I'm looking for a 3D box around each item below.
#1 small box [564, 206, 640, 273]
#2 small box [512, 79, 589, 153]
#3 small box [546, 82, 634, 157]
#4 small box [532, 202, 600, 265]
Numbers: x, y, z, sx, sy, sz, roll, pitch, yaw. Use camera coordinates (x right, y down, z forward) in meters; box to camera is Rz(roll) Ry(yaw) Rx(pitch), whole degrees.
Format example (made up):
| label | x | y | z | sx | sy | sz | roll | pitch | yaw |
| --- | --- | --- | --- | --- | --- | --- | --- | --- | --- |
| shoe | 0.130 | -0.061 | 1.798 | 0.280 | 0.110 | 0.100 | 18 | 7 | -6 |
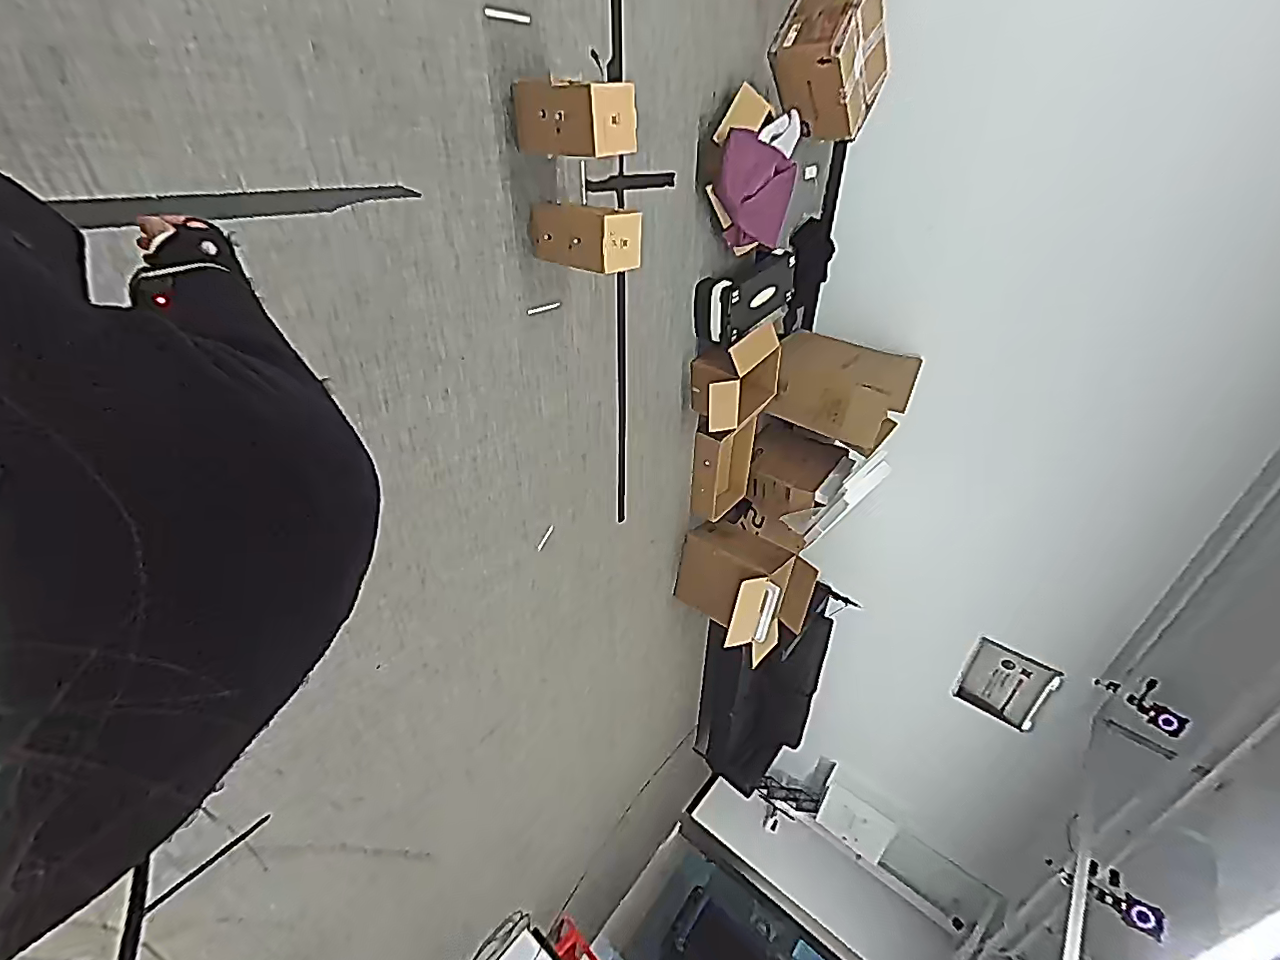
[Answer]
| label | x | y | z | sx | sy | sz | roll | pitch | yaw |
| --- | --- | --- | --- | --- | --- | --- | --- | --- | --- |
| small box | -0.121 | -0.763 | 1.705 | 0.179 | 0.176 | 0.168 | -31 | 135 | -41 |
| small box | -0.260 | -1.074 | 1.597 | 0.168 | 0.176 | 0.179 | -35 | 138 | -39 |
| small box | -0.137 | -1.010 | 1.512 | 0.179 | 0.176 | 0.168 | -35 | 136 | -36 |
| small box | -0.244 | -0.824 | 1.799 | 0.179 | 0.176 | 0.168 | -32 | 136 | -40 |
